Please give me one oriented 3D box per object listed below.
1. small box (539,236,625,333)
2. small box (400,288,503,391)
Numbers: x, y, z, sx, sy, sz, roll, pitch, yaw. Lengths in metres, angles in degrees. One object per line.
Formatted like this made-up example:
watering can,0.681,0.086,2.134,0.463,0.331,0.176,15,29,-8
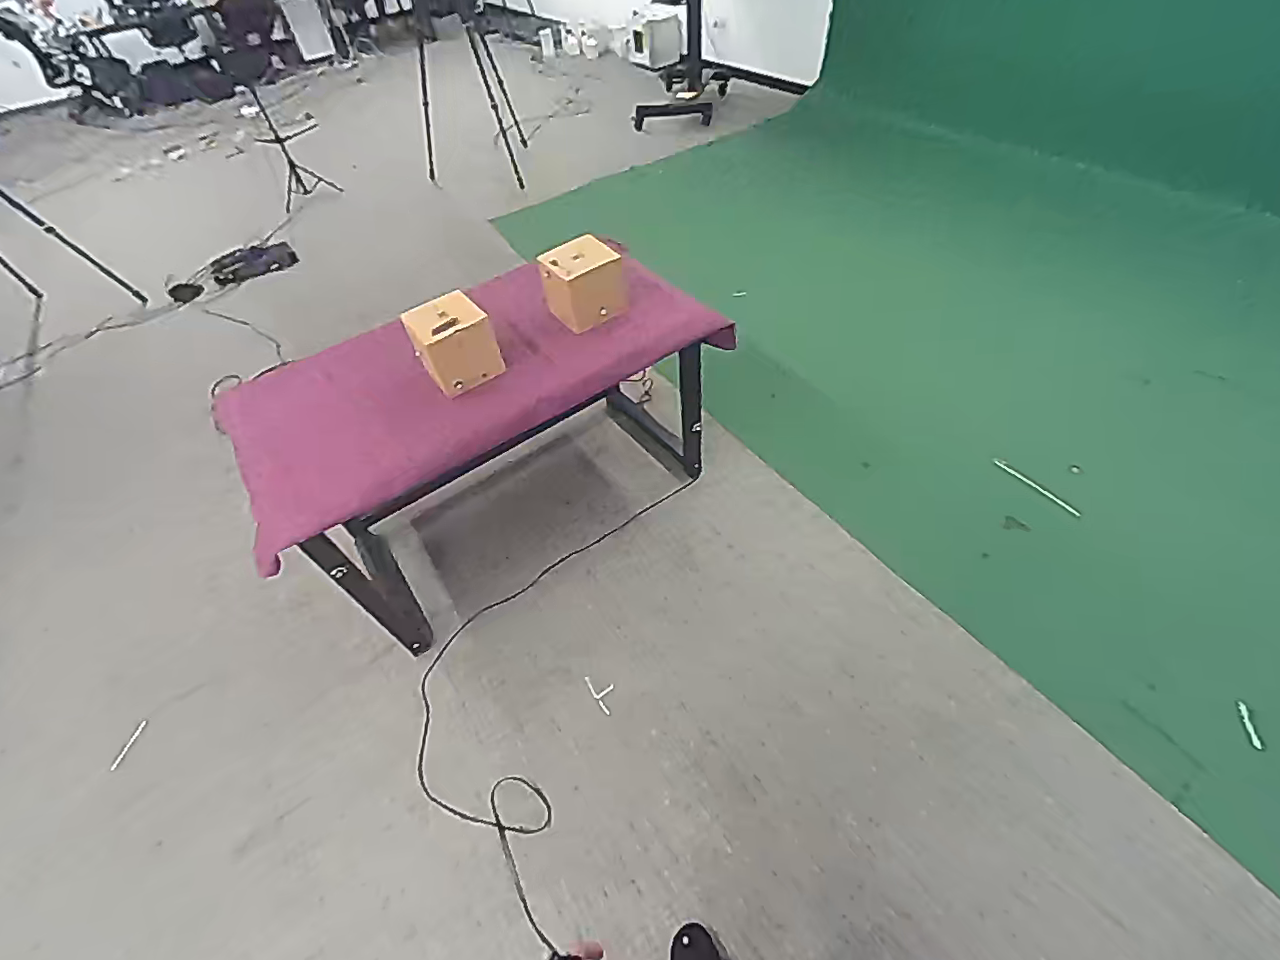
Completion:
small box,-0.154,-0.540,1.496,0.179,0.176,0.168,-31,54,-18
small box,-0.471,-0.348,1.370,0.168,0.176,0.179,-32,54,-20
